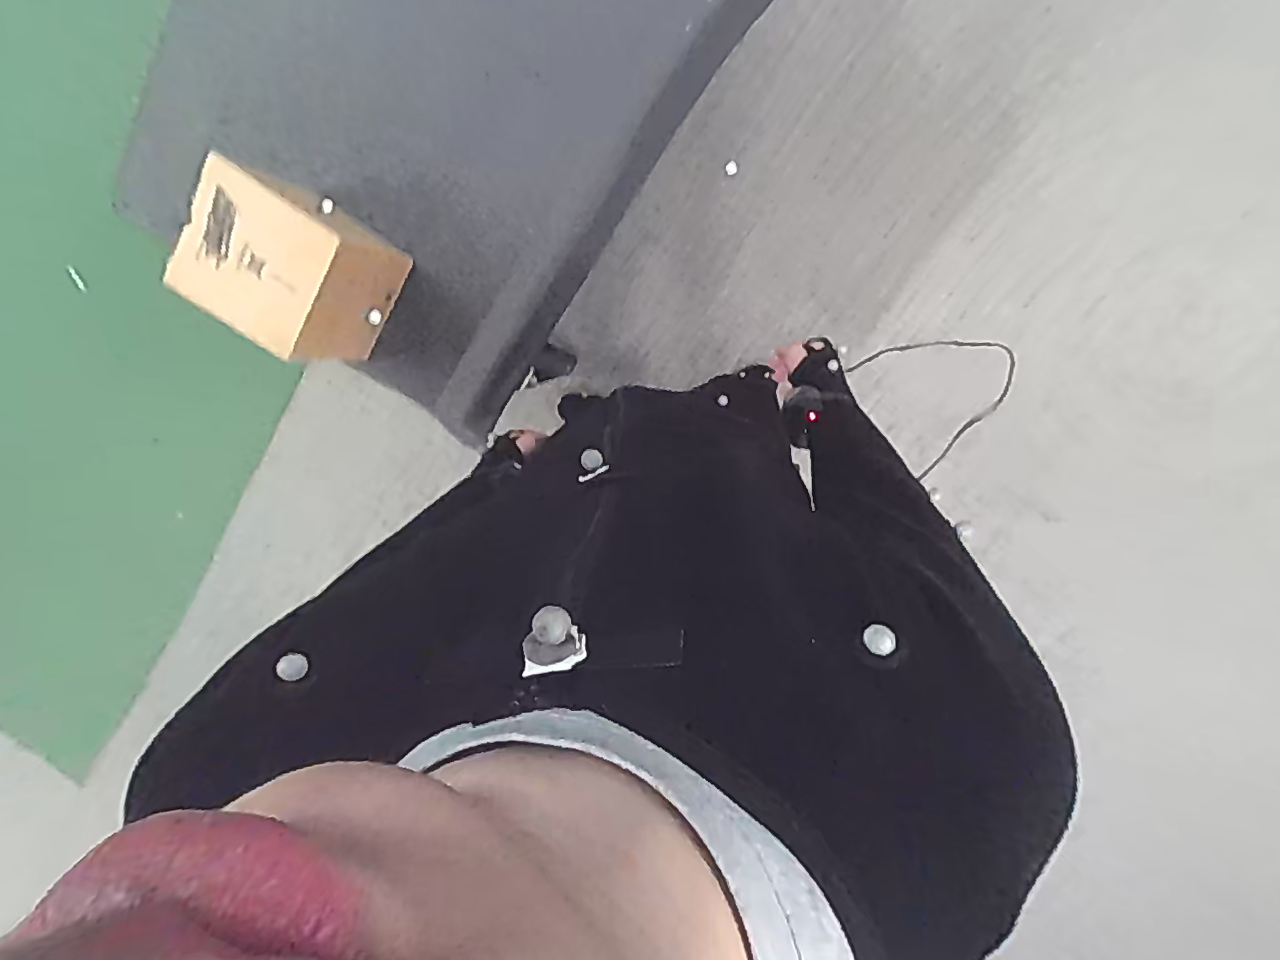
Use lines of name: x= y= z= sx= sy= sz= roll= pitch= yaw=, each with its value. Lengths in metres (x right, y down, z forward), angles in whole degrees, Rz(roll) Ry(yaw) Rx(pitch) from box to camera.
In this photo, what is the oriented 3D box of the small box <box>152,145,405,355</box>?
small box: x=-0.443 y=-0.273 z=0.689 sx=0.179 sy=0.176 sz=0.168 roll=34 pitch=104 yaw=-3
